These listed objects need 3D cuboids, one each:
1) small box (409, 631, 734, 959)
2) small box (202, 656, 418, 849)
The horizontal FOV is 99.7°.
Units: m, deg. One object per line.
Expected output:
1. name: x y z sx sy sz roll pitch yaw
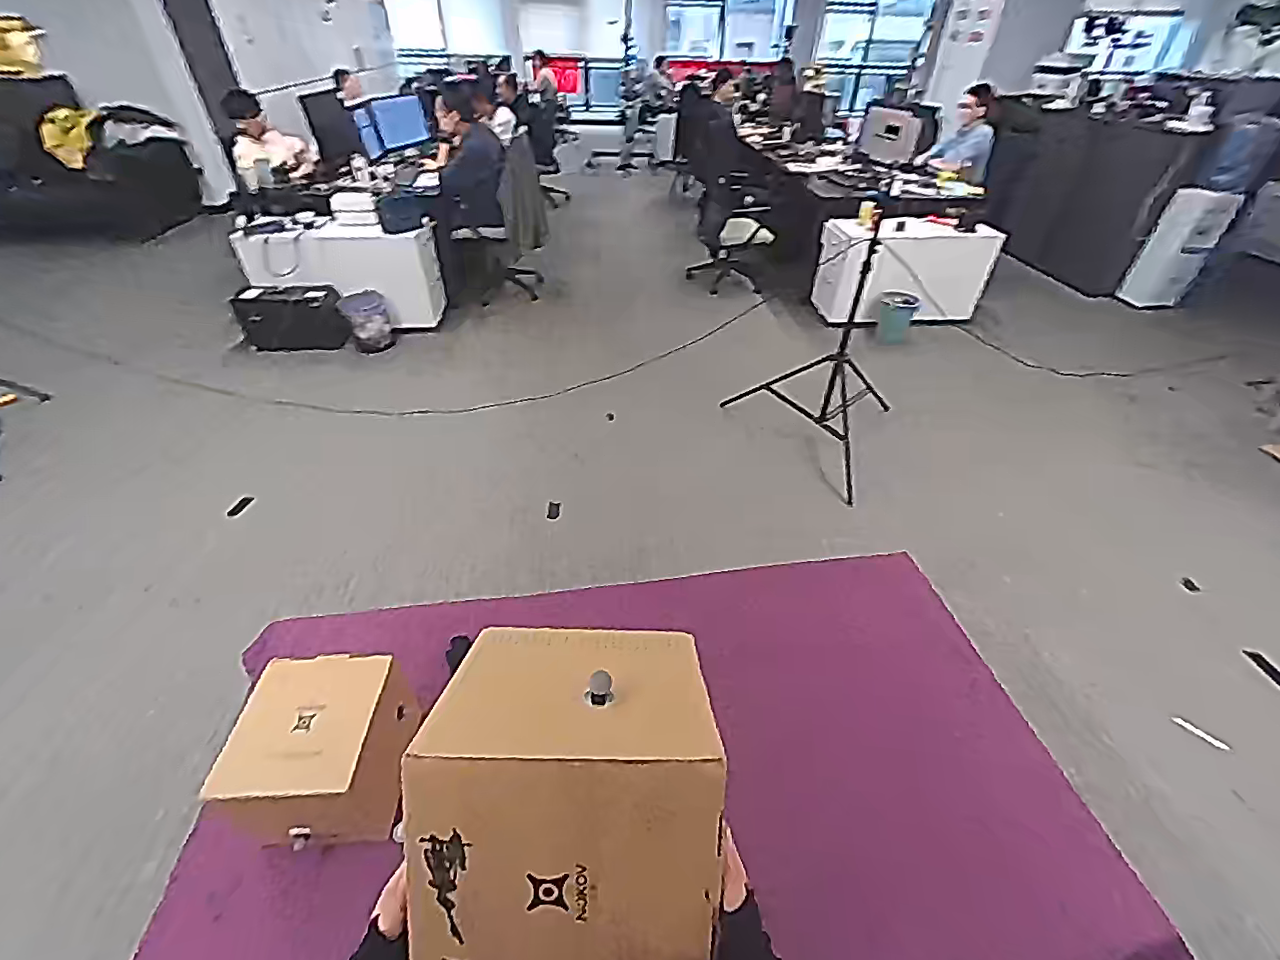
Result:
1. small box: -0.042 0.215 0.377 0.179 0.168 0.176 2 6 -2
2. small box: -0.410 0.357 0.714 0.168 0.176 0.179 -2 41 -3
